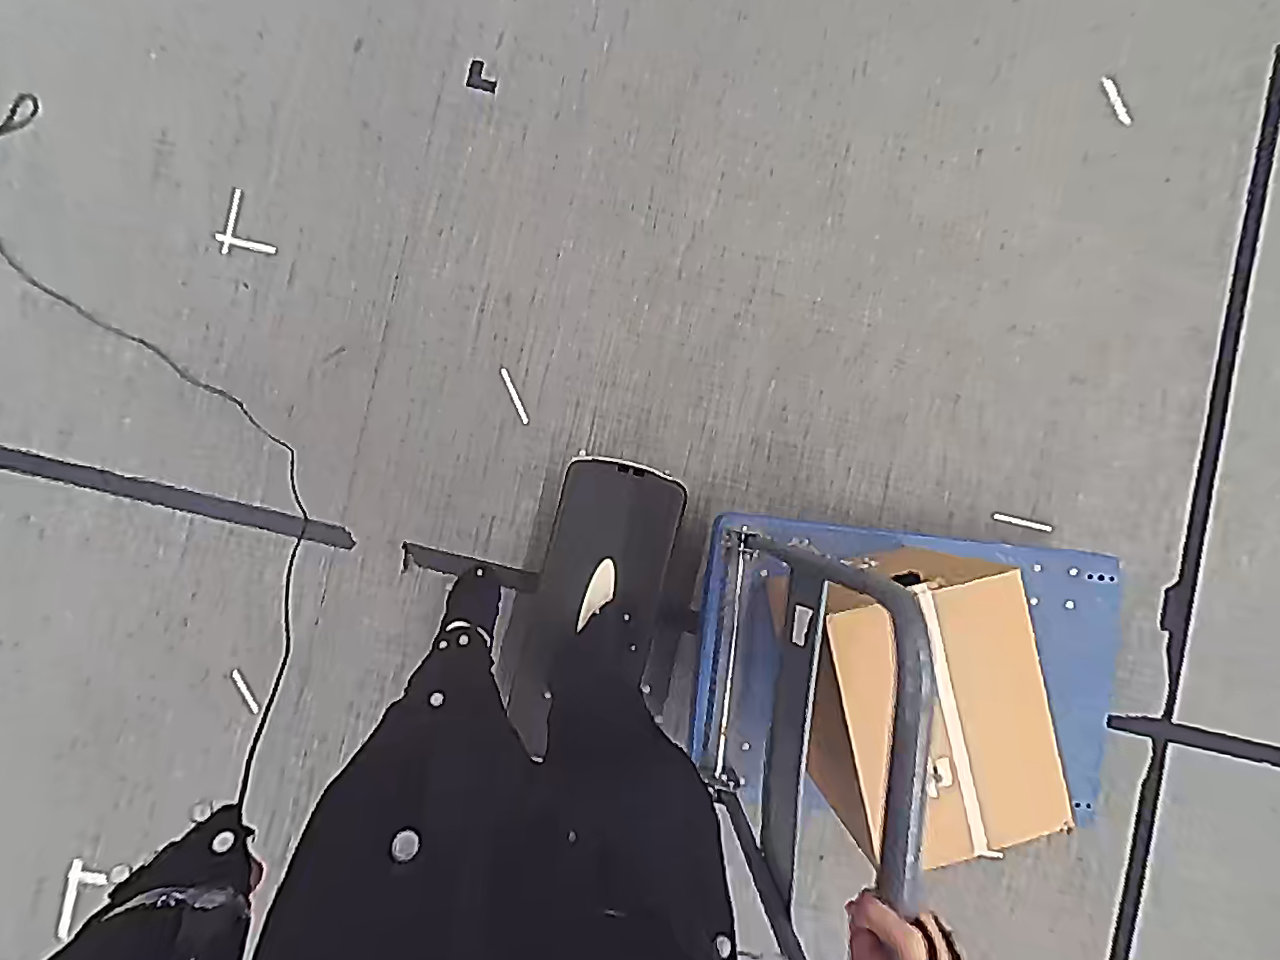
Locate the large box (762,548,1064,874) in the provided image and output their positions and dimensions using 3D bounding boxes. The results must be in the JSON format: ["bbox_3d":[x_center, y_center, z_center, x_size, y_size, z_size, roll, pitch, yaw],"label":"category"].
[{"bbox_3d":[0.447,0.364,0.962,0.320,0.320,0.408,-12,91,-4],"label":"large box"}]
